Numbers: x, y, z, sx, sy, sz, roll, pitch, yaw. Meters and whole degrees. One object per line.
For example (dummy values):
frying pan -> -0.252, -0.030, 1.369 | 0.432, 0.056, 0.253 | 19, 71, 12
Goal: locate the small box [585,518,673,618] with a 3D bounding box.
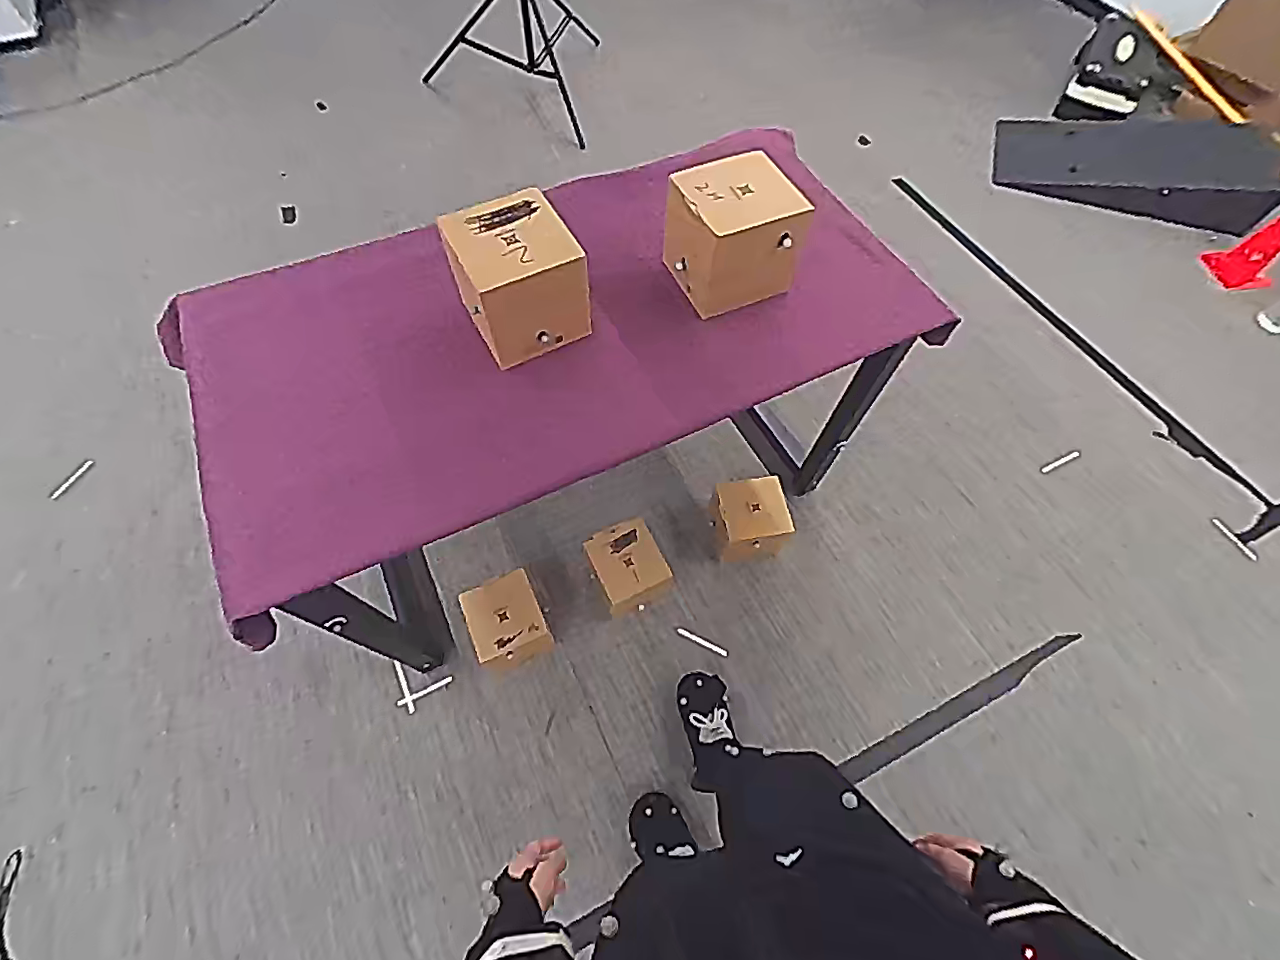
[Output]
small box -> -0.031, 0.232, 1.397 | 0.168, 0.176, 0.179 | -24, 66, -13

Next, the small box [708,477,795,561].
small box -> 0.295, 0.109, 1.471 | 0.179, 0.176, 0.168 | -8, 63, -5

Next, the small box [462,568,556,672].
small box -> -0.318, 0.348, 1.330 | 0.168, 0.176, 0.179 | -21, 64, -12

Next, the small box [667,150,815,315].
small box -> 0.158, -0.412, 0.915 | 0.179, 0.176, 0.168 | -22, 64, -12
